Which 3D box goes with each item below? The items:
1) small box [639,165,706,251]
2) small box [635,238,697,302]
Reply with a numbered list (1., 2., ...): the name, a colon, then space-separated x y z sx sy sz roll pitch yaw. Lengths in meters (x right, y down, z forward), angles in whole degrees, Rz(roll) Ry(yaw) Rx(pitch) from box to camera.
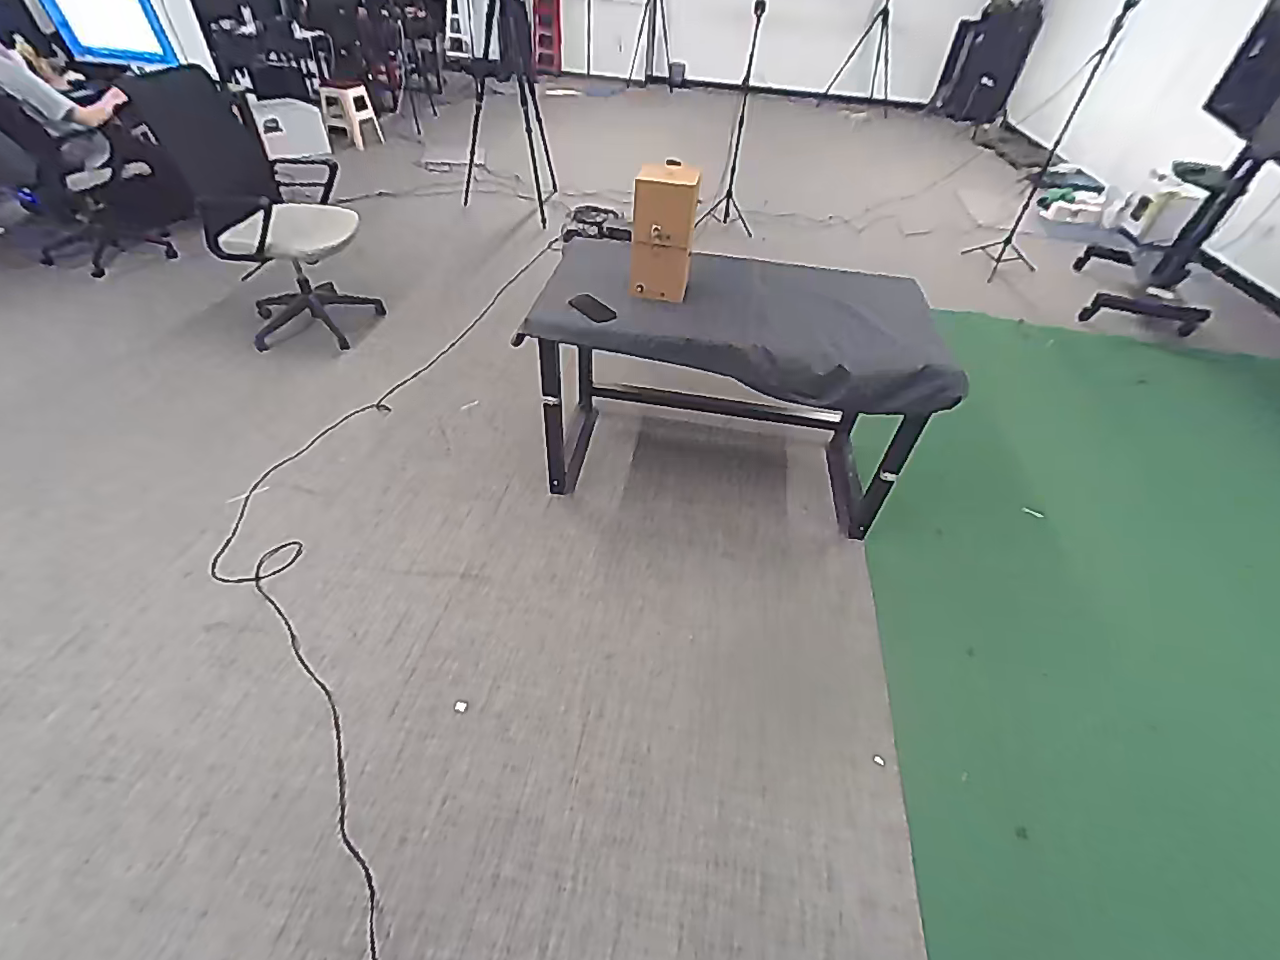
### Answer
1. small box: 0.090 -0.777 1.544 0.168 0.176 0.179 9 45 5
2. small box: 0.079 -0.665 1.661 0.168 0.176 0.179 10 43 5
